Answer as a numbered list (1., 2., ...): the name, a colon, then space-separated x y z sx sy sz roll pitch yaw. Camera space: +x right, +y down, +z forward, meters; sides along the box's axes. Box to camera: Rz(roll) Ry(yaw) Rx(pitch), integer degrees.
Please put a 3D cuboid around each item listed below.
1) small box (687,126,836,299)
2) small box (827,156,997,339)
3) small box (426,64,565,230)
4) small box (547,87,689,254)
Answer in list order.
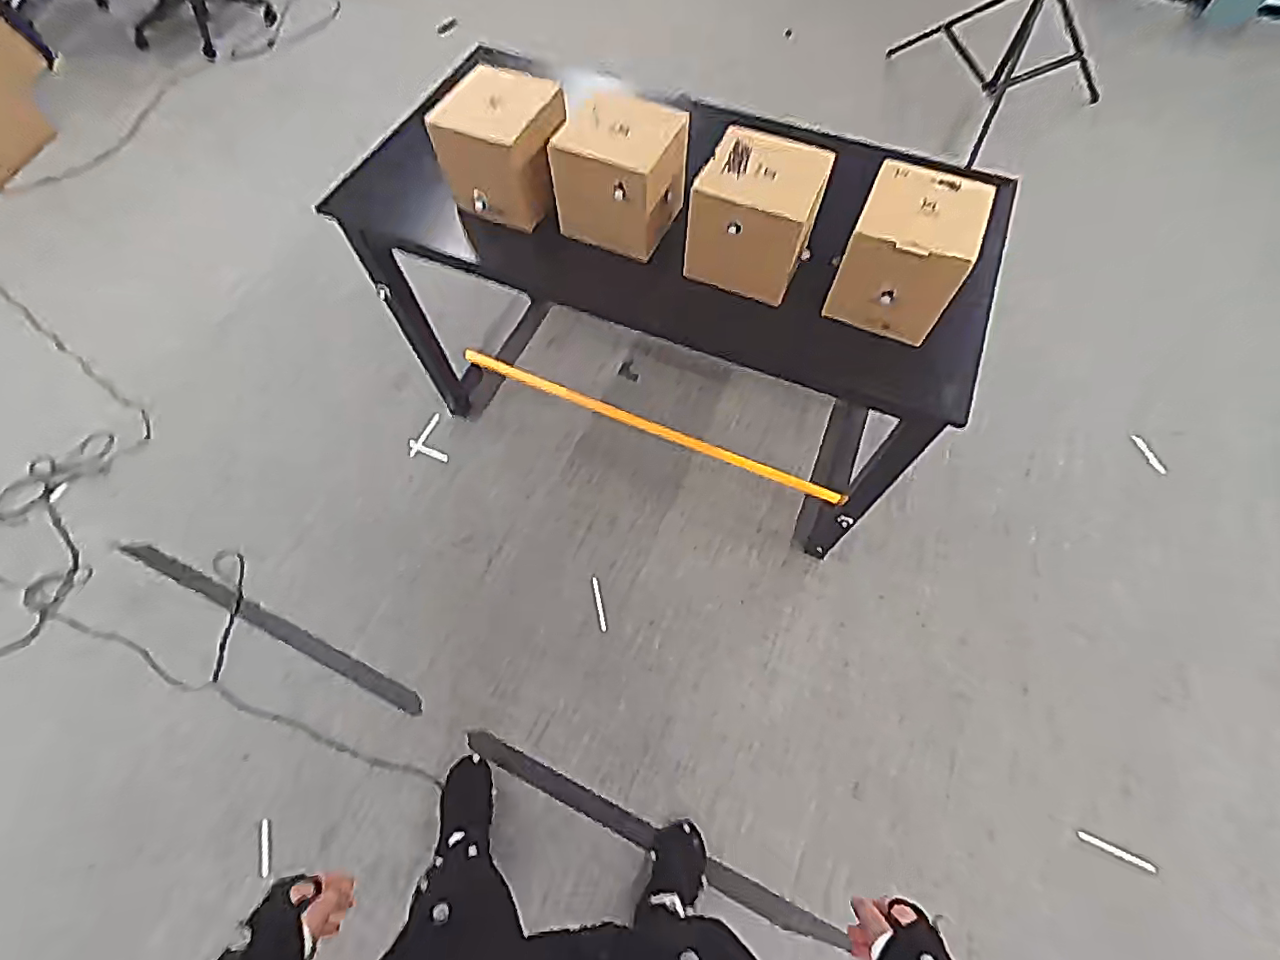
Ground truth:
1. small box: 0.186 -0.426 0.876 0.179 0.176 0.168 22 66 10
2. small box: 0.407 -0.351 0.836 0.168 0.176 0.179 23 67 11
3. small box: -0.238 -0.586 0.959 0.168 0.176 0.179 21 67 12
4. small box: -0.032 -0.518 0.923 0.179 0.176 0.168 23 66 11
